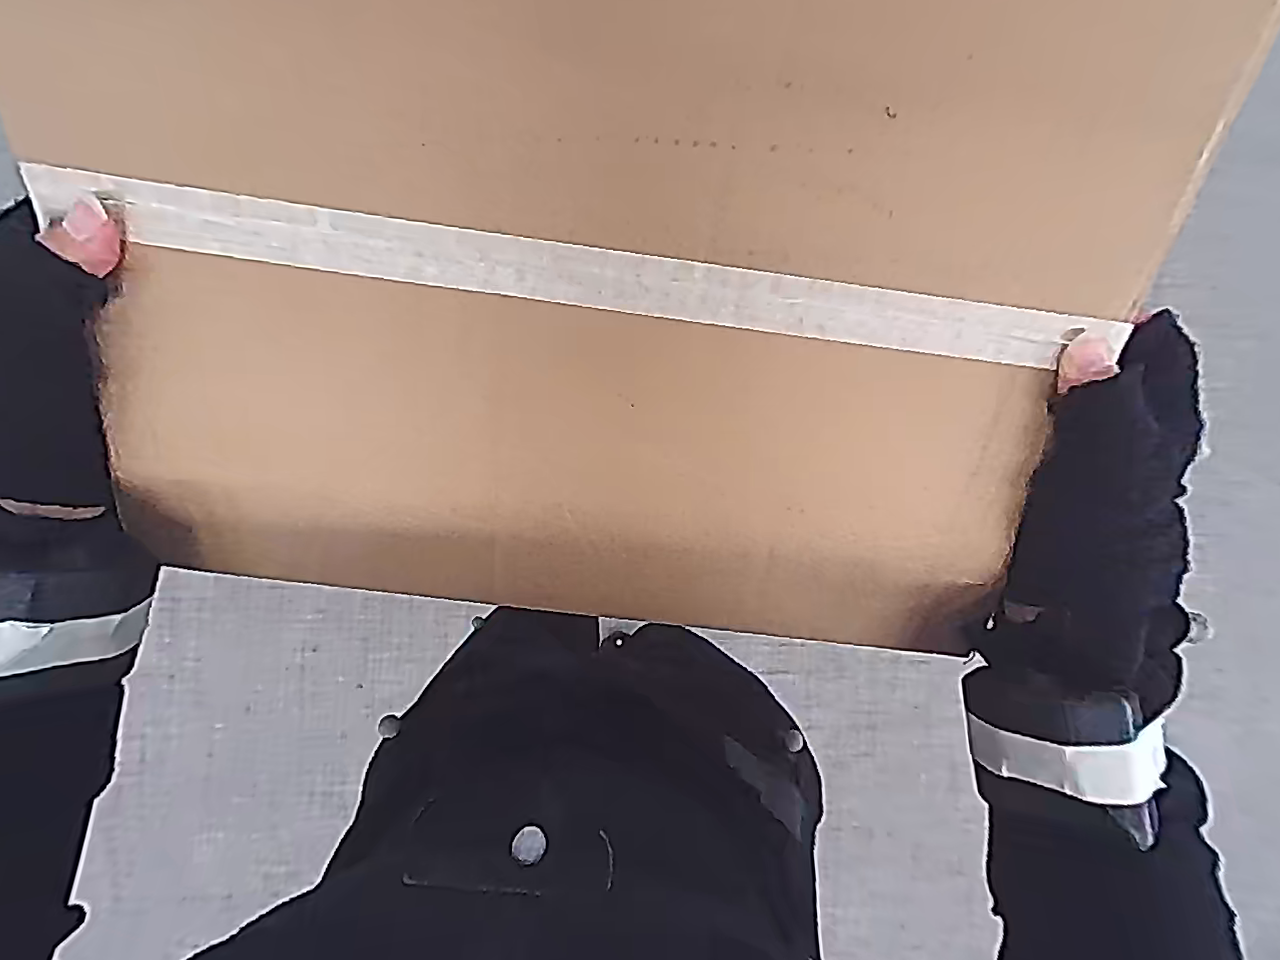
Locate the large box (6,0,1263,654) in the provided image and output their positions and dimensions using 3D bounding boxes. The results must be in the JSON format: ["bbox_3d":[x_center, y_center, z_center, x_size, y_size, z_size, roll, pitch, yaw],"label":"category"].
[{"bbox_3d":[-0.013,-0.126,0.351,0.408,0.320,0.320,7,114,-3],"label":"large box"}]
